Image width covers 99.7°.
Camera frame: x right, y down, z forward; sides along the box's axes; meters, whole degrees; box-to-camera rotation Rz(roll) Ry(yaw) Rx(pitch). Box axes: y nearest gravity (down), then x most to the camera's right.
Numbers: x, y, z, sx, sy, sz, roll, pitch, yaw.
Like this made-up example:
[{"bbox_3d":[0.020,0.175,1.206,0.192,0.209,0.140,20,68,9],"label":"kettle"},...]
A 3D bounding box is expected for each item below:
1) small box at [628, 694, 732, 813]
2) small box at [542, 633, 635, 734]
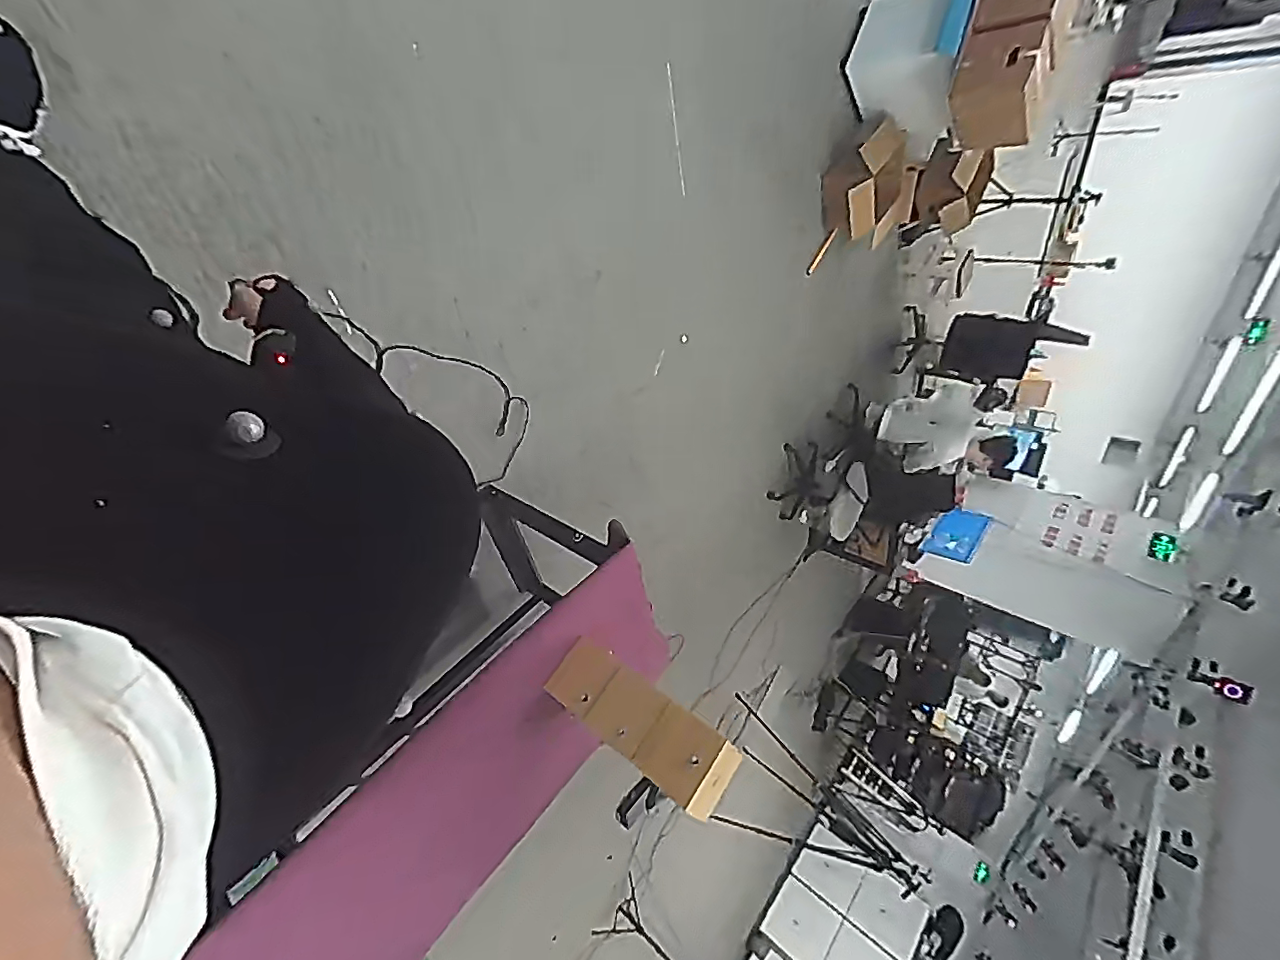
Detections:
[{"bbox_3d":[0.092,0.656,1.304,0.179,0.176,0.168,-52,140,-21],"label":"small box"},{"bbox_3d":[-0.149,0.561,1.503,0.179,0.176,0.168,-51,141,-22],"label":"small box"}]
